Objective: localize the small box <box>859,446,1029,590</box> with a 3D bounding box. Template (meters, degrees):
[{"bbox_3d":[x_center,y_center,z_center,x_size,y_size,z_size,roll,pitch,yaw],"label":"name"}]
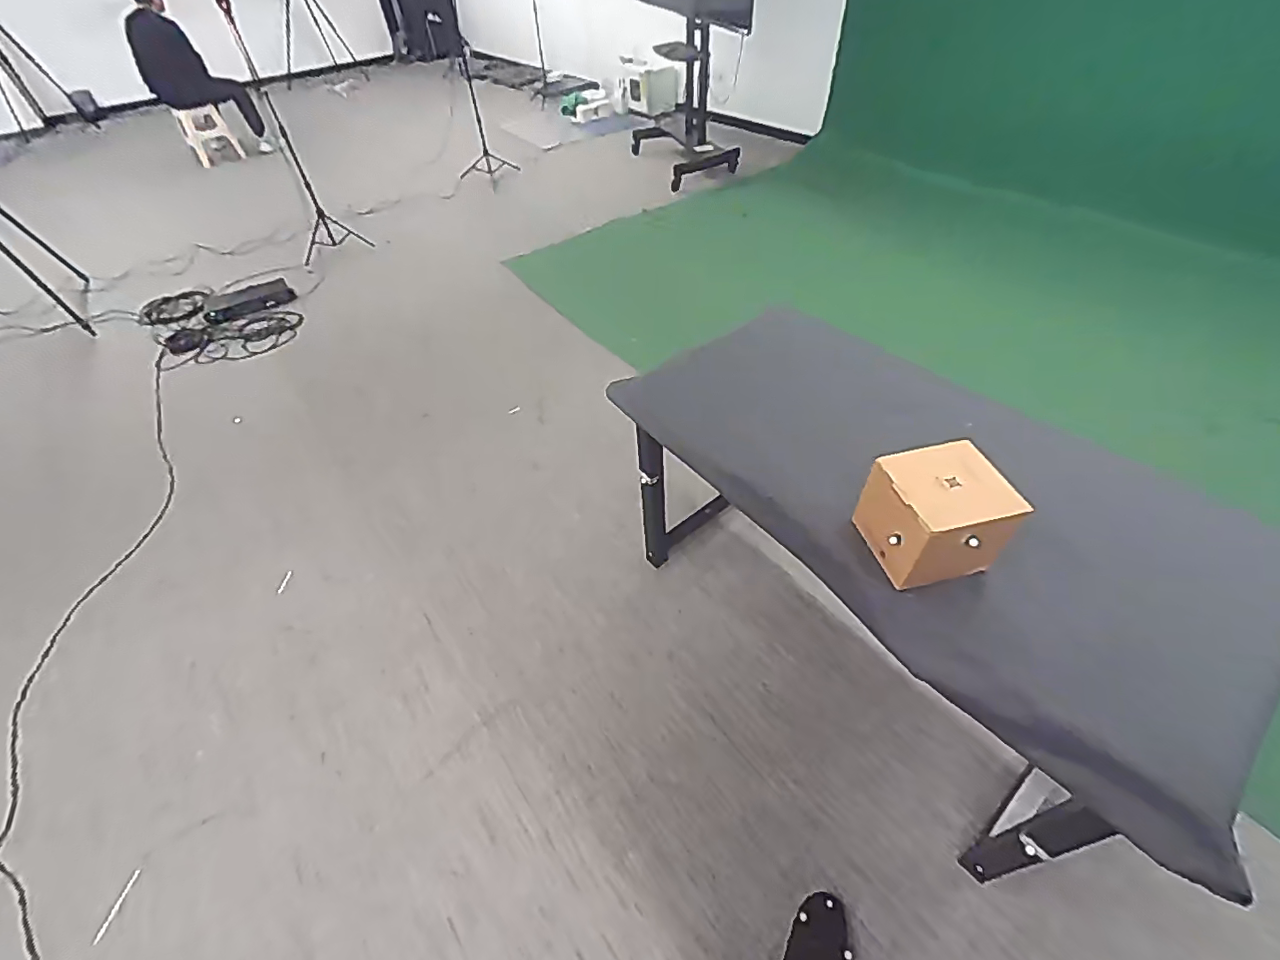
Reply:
[{"bbox_3d":[0.500,0.069,0.928,0.179,0.176,0.168,-10,48,-8],"label":"small box"}]
